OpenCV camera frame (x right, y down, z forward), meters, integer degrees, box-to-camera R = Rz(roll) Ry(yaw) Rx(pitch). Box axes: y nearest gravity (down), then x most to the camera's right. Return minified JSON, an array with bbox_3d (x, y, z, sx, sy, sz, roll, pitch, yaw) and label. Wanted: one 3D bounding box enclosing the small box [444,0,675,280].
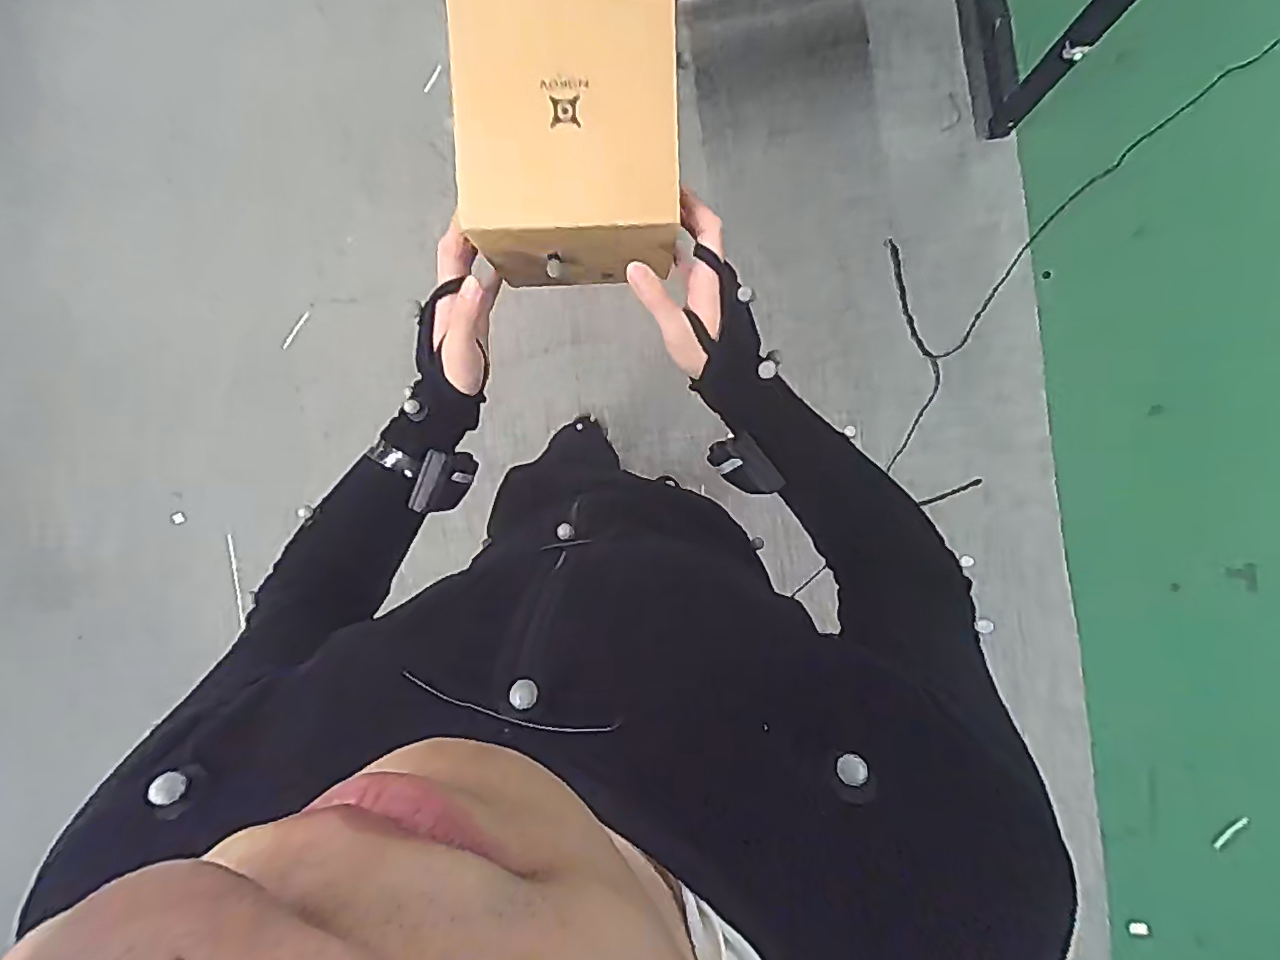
[{"bbox_3d":[-0.055,-0.282,0.467,0.168,0.176,0.179,-2,93,0],"label":"small box"}]
